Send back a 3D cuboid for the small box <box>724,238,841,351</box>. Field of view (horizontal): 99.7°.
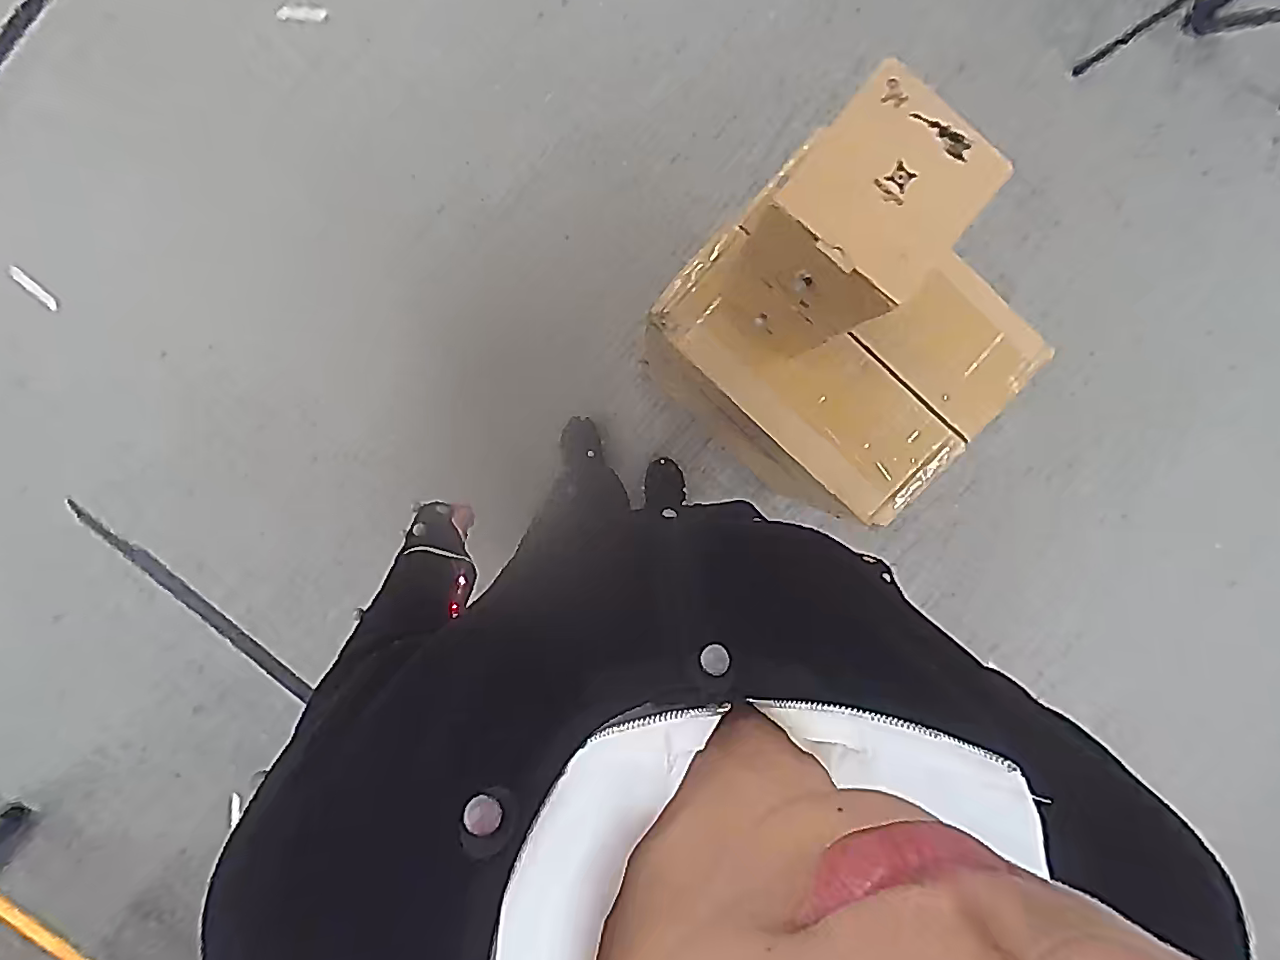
[{"bbox_3d":[0.240,-0.309,0.768,0.168,0.176,0.179,41,93,-4],"label":"small box"}]

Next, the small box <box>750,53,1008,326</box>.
[{"bbox_3d":[0.242,-0.298,0.604,0.168,0.176,0.179,39,94,-4],"label":"small box"}]
